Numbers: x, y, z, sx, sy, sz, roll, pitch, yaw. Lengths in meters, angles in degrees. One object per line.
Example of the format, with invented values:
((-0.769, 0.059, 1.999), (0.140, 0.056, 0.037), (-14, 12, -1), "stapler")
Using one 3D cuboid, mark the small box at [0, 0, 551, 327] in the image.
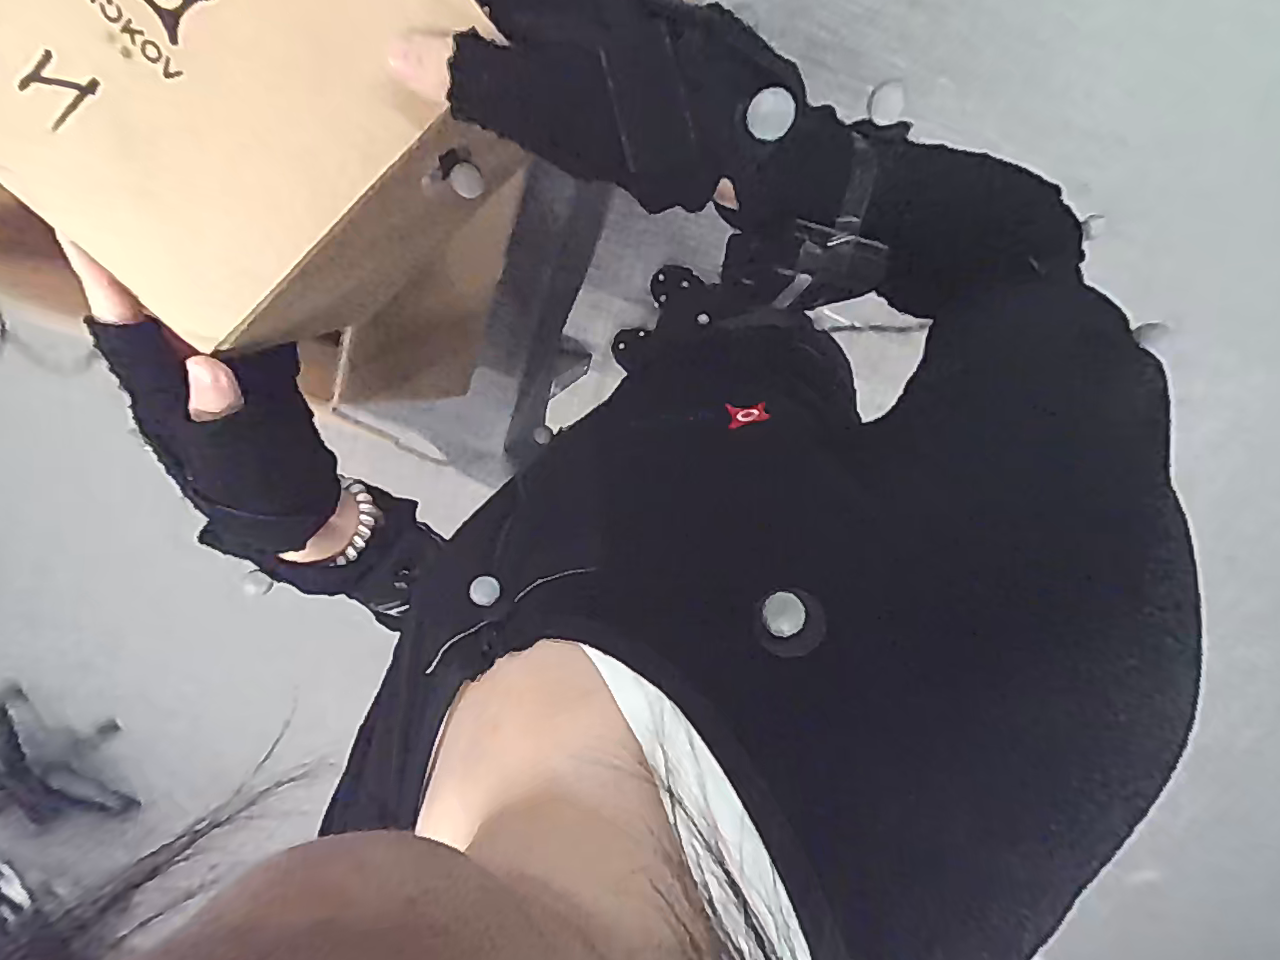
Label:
((-0.160, -0.201, 0.259), (0.179, 0.176, 0.168), (-37, 111, 9), "small box")
